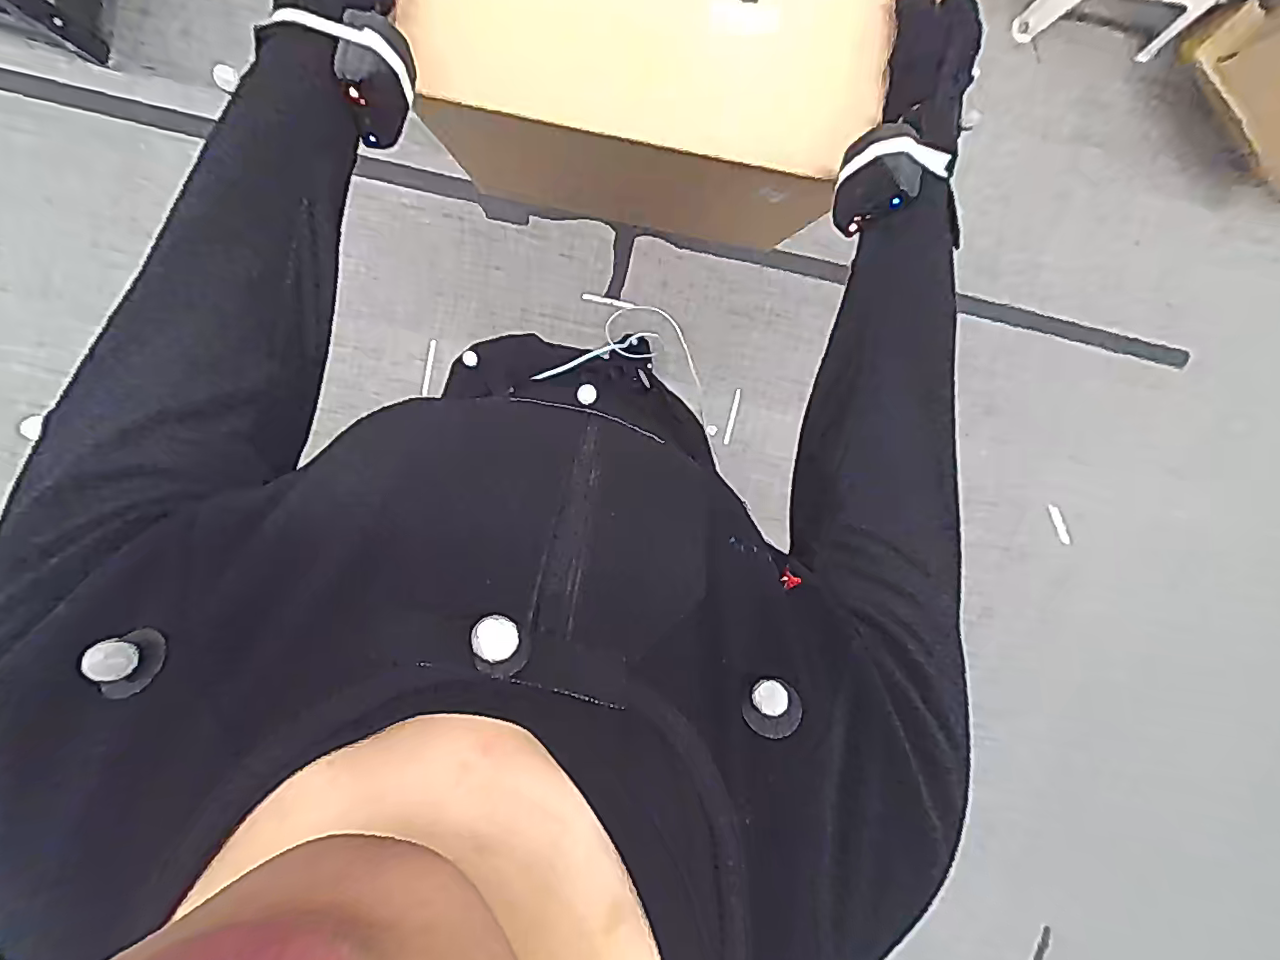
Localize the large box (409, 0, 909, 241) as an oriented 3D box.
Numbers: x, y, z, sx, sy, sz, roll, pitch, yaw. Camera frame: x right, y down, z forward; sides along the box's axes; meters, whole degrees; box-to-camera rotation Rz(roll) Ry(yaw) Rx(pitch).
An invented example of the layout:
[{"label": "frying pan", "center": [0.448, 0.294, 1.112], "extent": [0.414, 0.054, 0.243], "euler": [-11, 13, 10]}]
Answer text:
[{"label": "large box", "center": [0.020, -0.474, 0.567], "extent": [0.408, 0.320, 0.320], "euler": [9, 104, -5]}]
